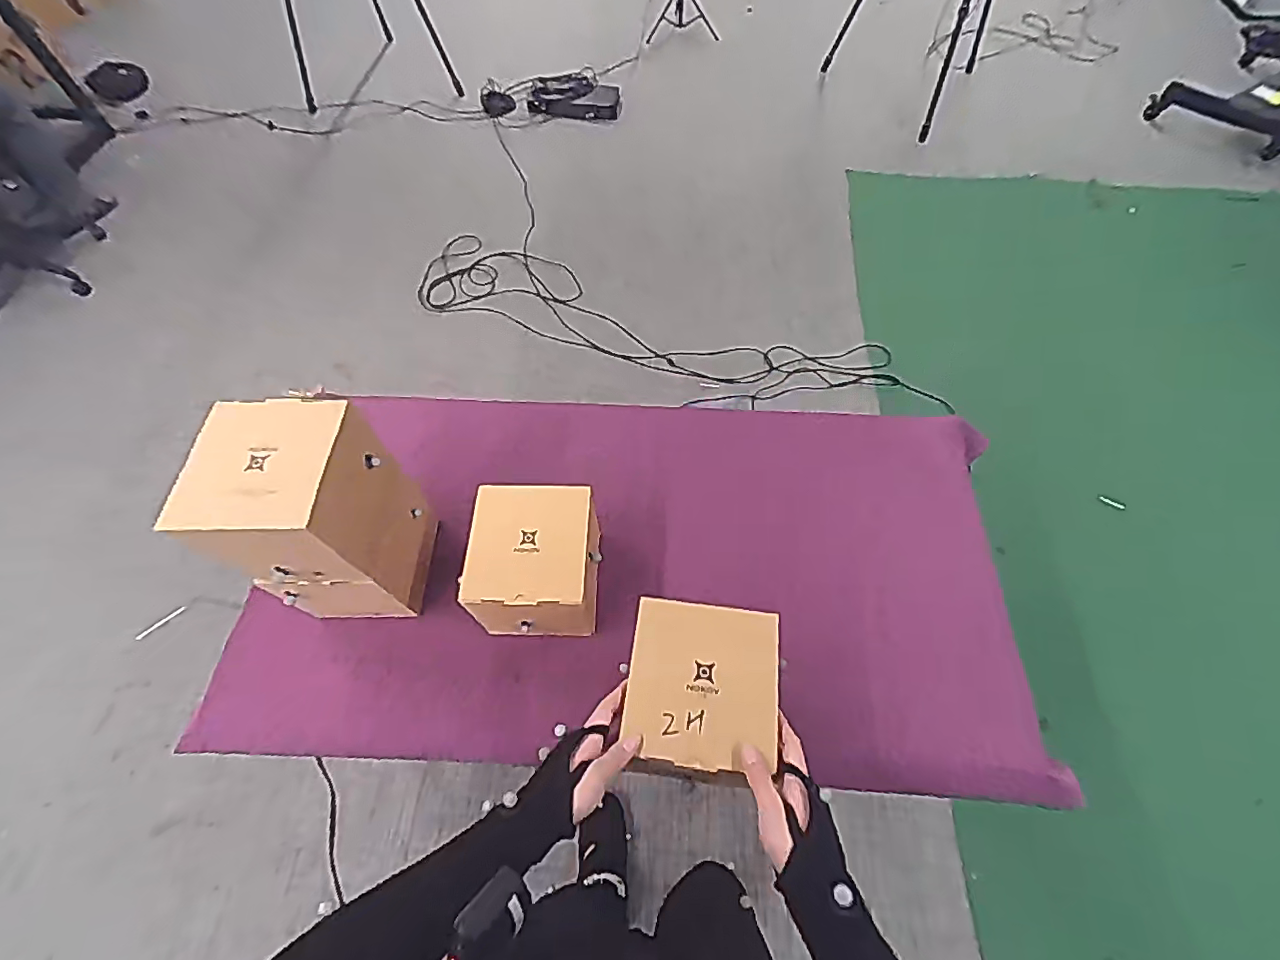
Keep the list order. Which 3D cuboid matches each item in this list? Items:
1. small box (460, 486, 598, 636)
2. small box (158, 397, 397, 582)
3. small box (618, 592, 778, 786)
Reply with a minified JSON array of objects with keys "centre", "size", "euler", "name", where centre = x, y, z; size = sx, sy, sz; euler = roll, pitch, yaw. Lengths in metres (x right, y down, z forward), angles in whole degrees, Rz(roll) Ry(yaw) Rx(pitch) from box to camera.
[{"centre":[-0.153,0.125,0.815],"size":[0.168,0.176,0.179],"euler":[1,61,1],"name":"small box"},{"centre":[-0.432,0.015,0.684],"size":[0.168,0.176,0.179],"euler":[1,60,0],"name":"small box"},{"centre":[0.071,0.261,0.668],"size":[0.168,0.176,0.179],"euler":[7,58,6],"name":"small box"}]
